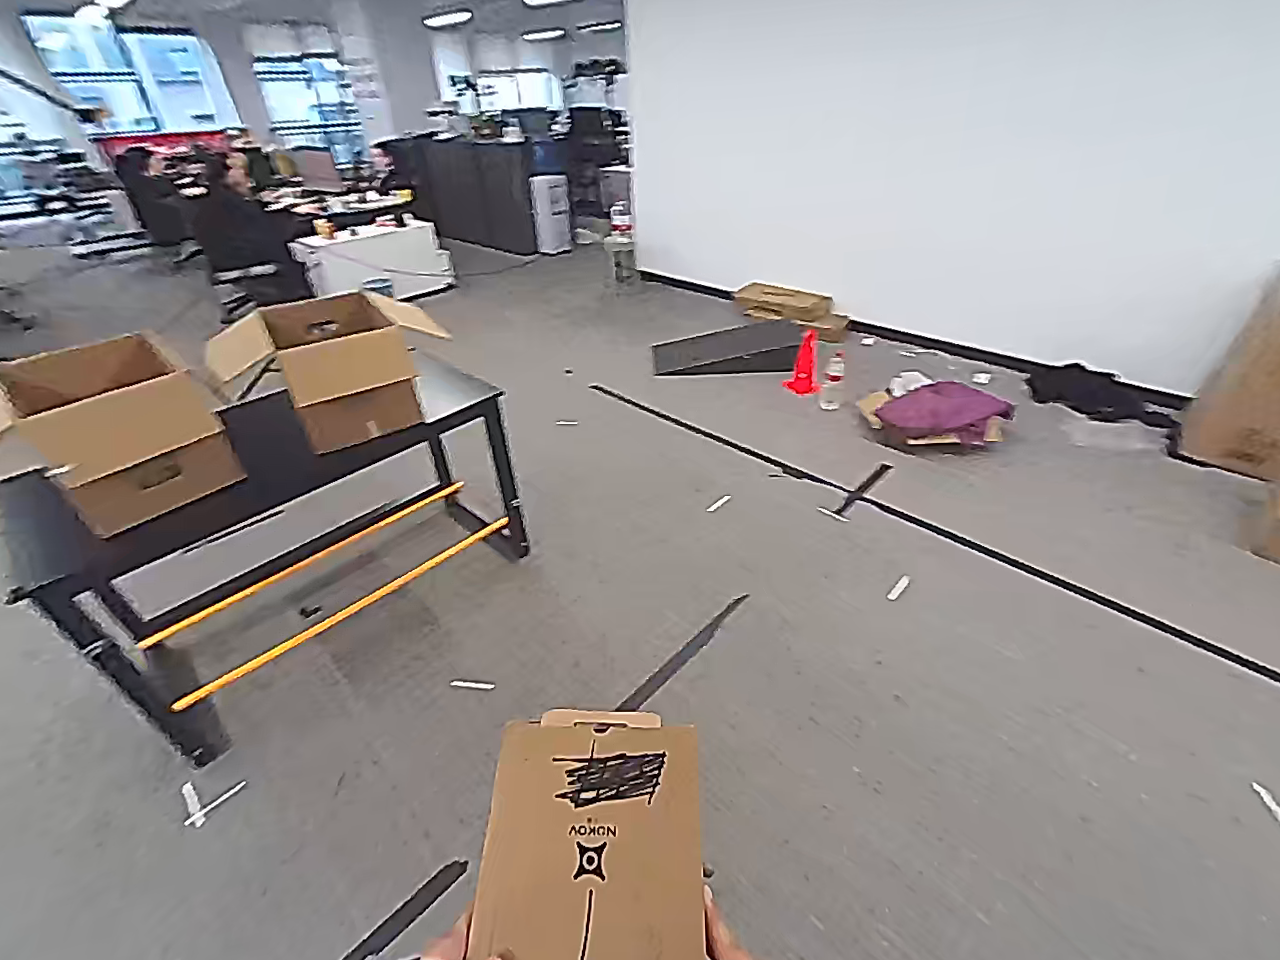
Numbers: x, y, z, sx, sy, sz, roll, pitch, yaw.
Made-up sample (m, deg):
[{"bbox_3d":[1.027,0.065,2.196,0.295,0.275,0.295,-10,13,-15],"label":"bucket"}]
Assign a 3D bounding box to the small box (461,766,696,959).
[{"bbox_3d":[-0.043,0.358,0.457,0.168,0.176,0.179,0,52,0],"label":"small box"}]
